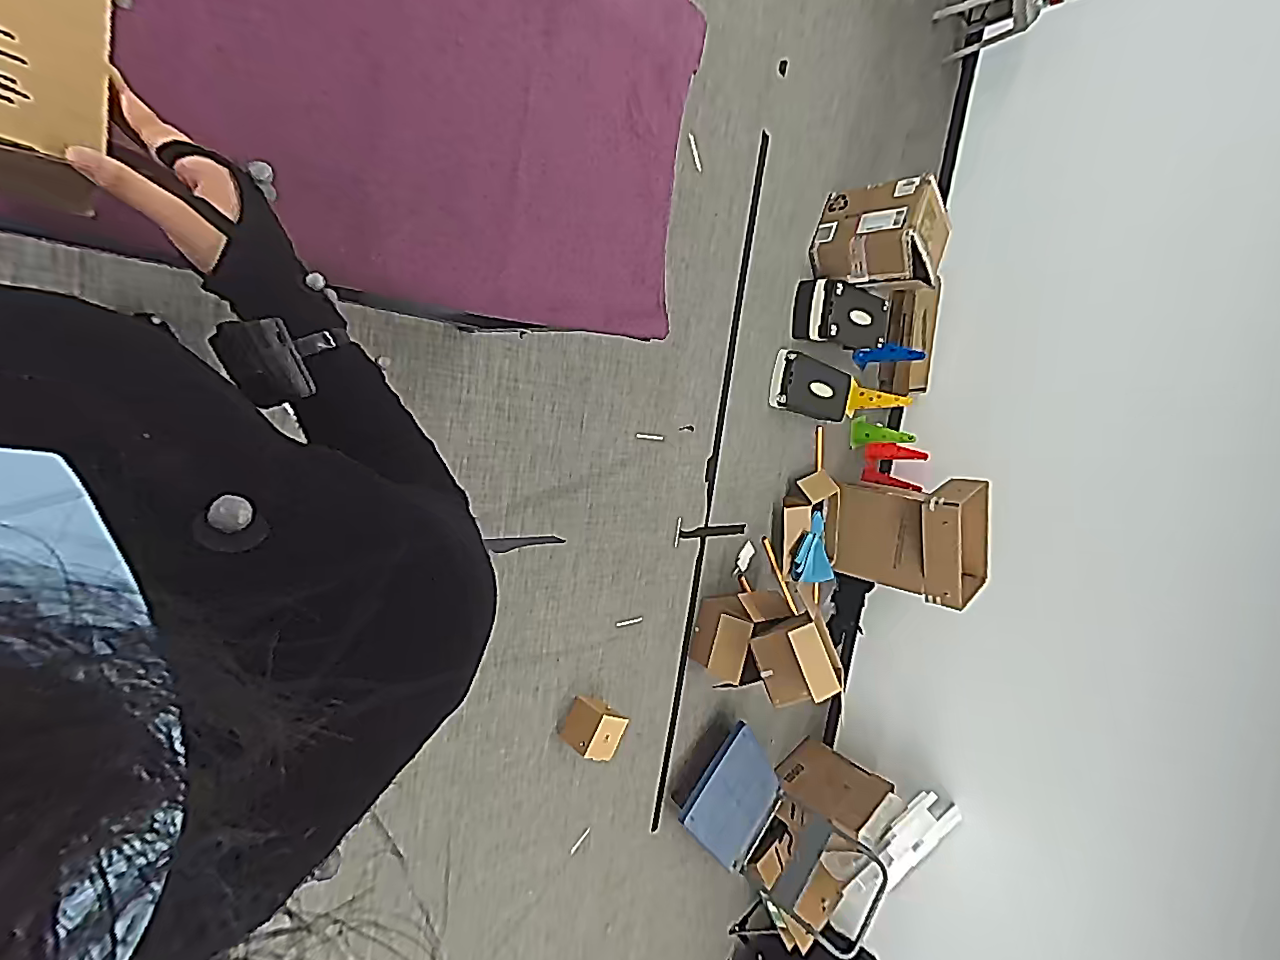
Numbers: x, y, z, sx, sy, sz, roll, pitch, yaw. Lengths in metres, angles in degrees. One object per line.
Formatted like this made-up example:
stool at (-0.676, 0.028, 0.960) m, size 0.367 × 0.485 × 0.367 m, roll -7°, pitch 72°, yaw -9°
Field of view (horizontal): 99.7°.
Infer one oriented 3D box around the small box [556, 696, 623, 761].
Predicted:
small box at (-0.206, 0.992, 2.166) m, size 0.168 × 0.176 × 0.179 m, roll 37°, pitch 76°, yaw -45°
